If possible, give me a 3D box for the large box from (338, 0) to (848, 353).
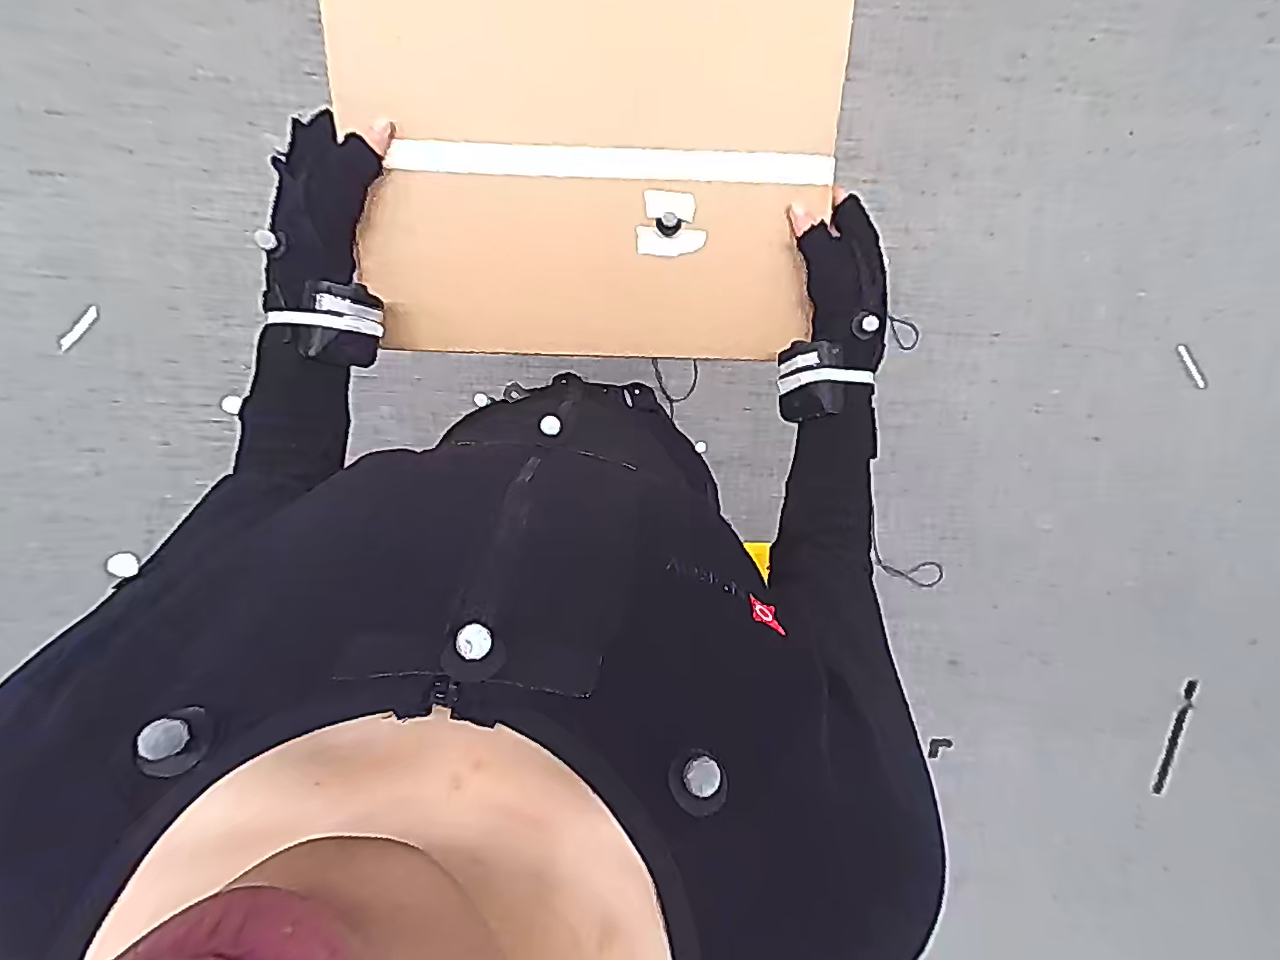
[{"bbox_3d":[-0.043,-0.313,0.596,0.408,0.320,0.320,1,109,-3],"label":"large box"}]
